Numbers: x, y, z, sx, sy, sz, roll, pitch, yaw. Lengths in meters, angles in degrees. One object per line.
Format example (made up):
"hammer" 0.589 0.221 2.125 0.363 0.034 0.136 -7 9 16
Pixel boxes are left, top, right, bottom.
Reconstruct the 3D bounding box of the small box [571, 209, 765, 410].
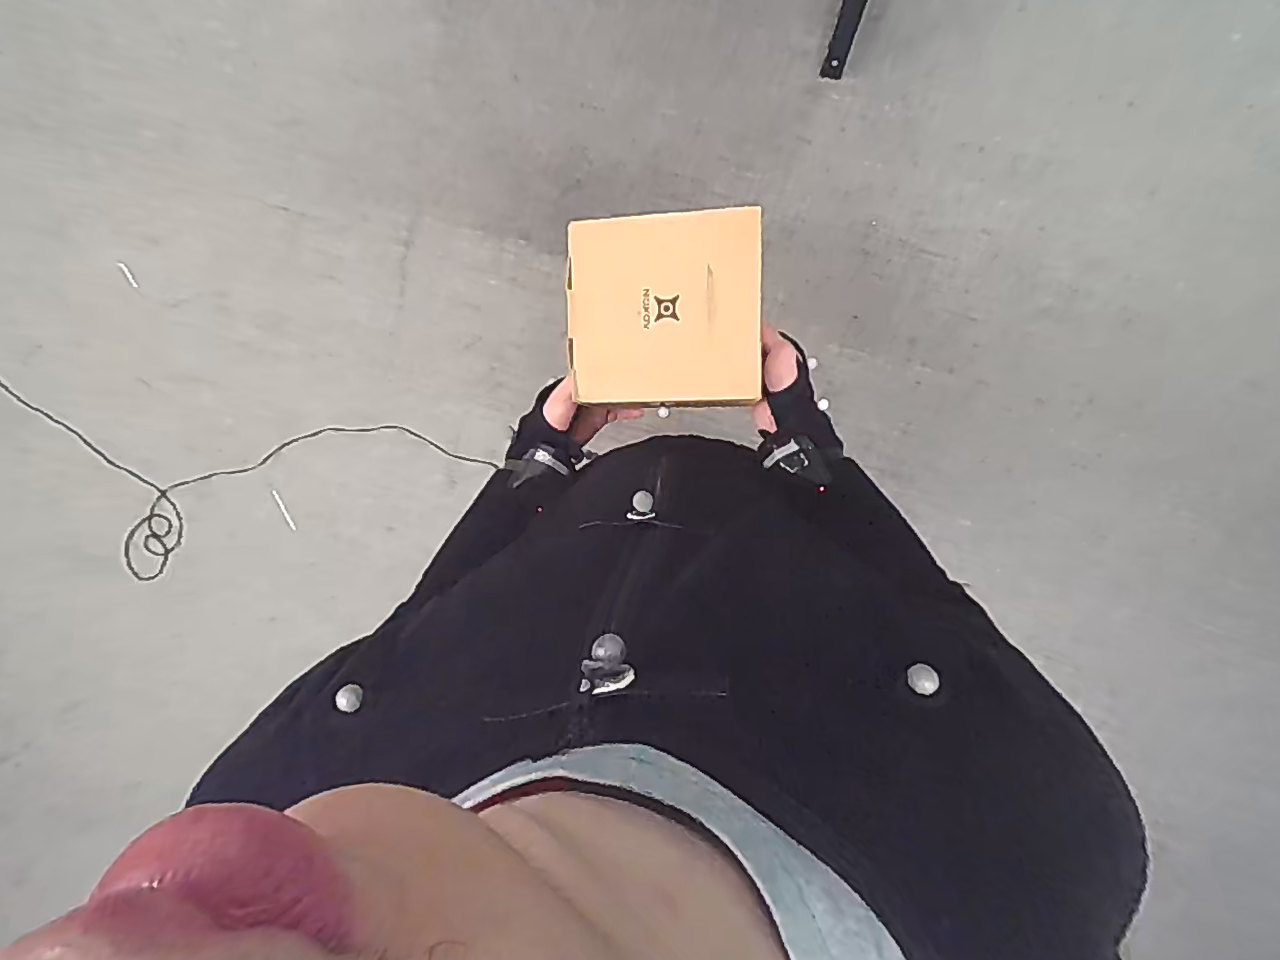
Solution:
"small box" 0.037 -0.160 0.565 0.179 0.176 0.168 -1 96 9
